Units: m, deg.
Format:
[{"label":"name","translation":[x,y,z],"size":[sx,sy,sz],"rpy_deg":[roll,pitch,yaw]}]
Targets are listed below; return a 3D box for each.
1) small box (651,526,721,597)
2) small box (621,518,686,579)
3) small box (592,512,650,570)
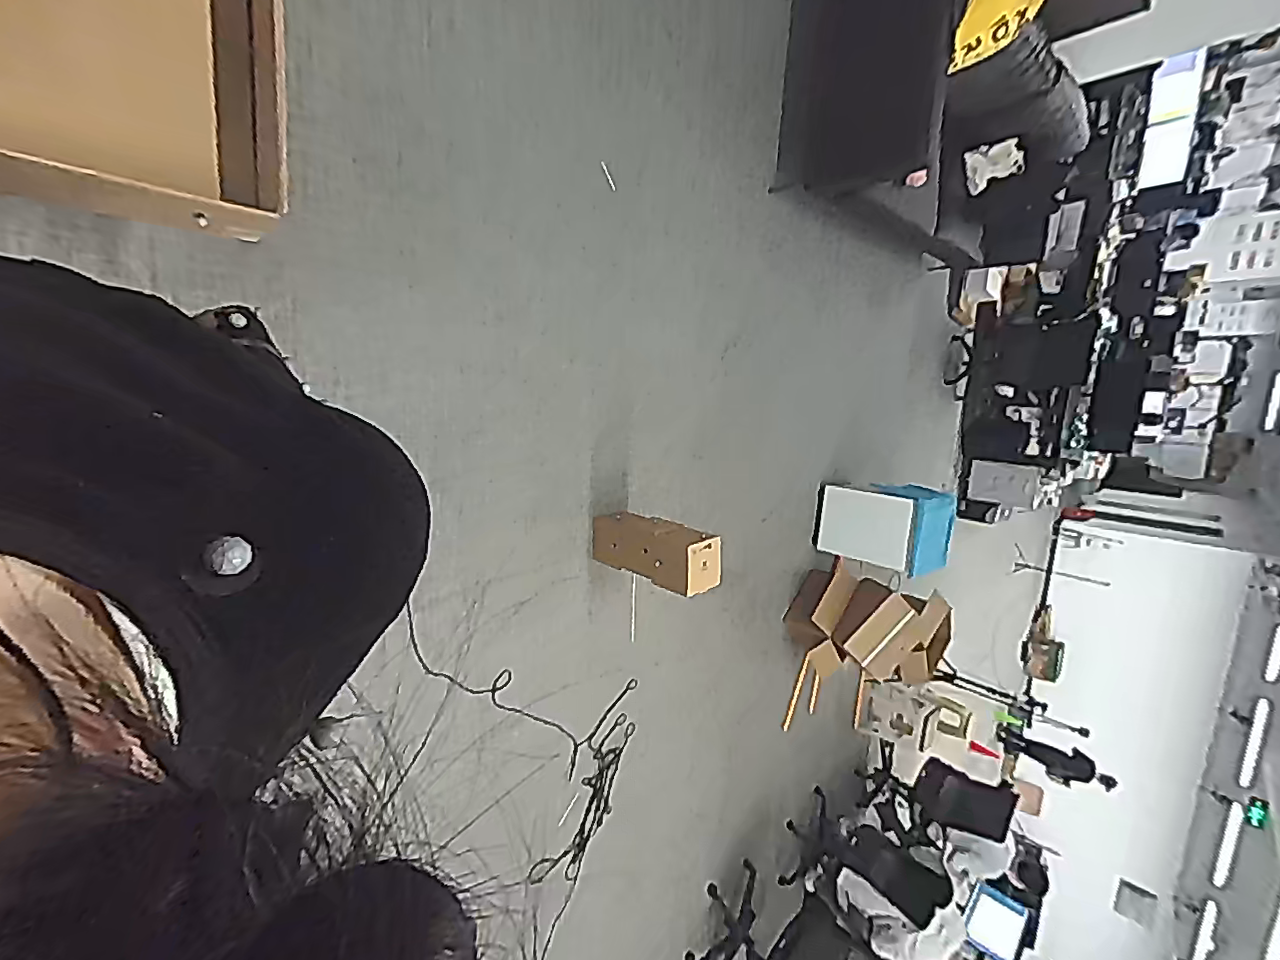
[{"label":"small box","translation":[0.149,0.268,1.811],"size":[0.168,0.176,0.179],"rpy_deg":[-9,106,-43]},{"label":"small box","translation":[0.047,0.238,1.936],"size":[0.168,0.176,0.179],"rpy_deg":[-6,103,-43]},{"label":"small box","translation":[-0.067,0.224,2.053],"size":[0.168,0.176,0.179],"rpy_deg":[-7,104,-43]}]
